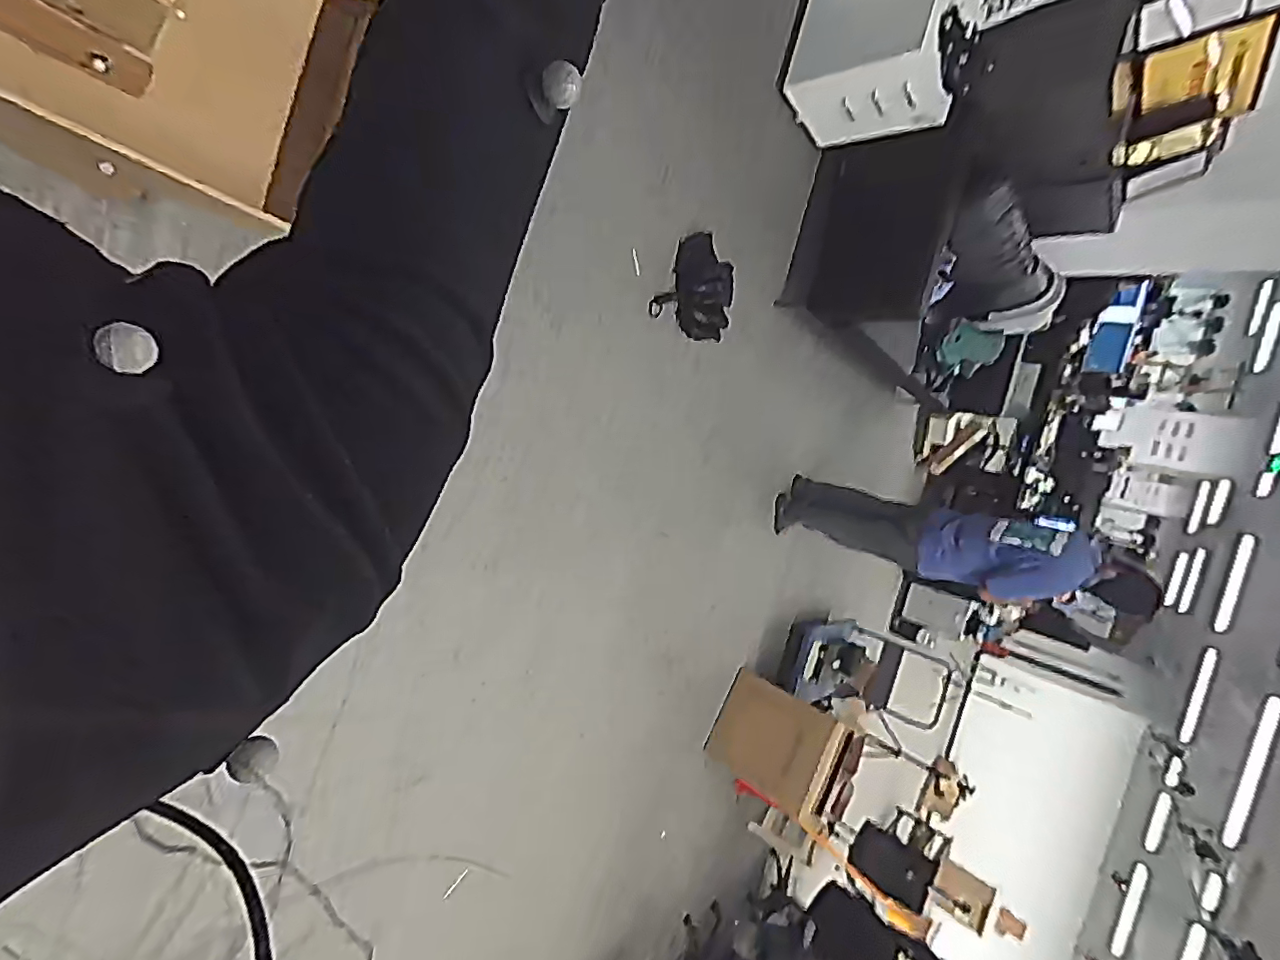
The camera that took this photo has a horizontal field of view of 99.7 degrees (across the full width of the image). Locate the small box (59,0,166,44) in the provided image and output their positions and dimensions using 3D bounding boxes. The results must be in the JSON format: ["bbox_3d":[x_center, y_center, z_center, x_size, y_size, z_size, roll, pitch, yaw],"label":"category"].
[{"bbox_3d":[-0.538,-0.563,0.502,0.168,0.176,0.179,13,94,-50],"label":"small box"}]

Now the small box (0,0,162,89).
[{"bbox_3d":[-0.654,-0.595,0.614,0.168,0.176,0.179,12,92,-50],"label":"small box"}]
